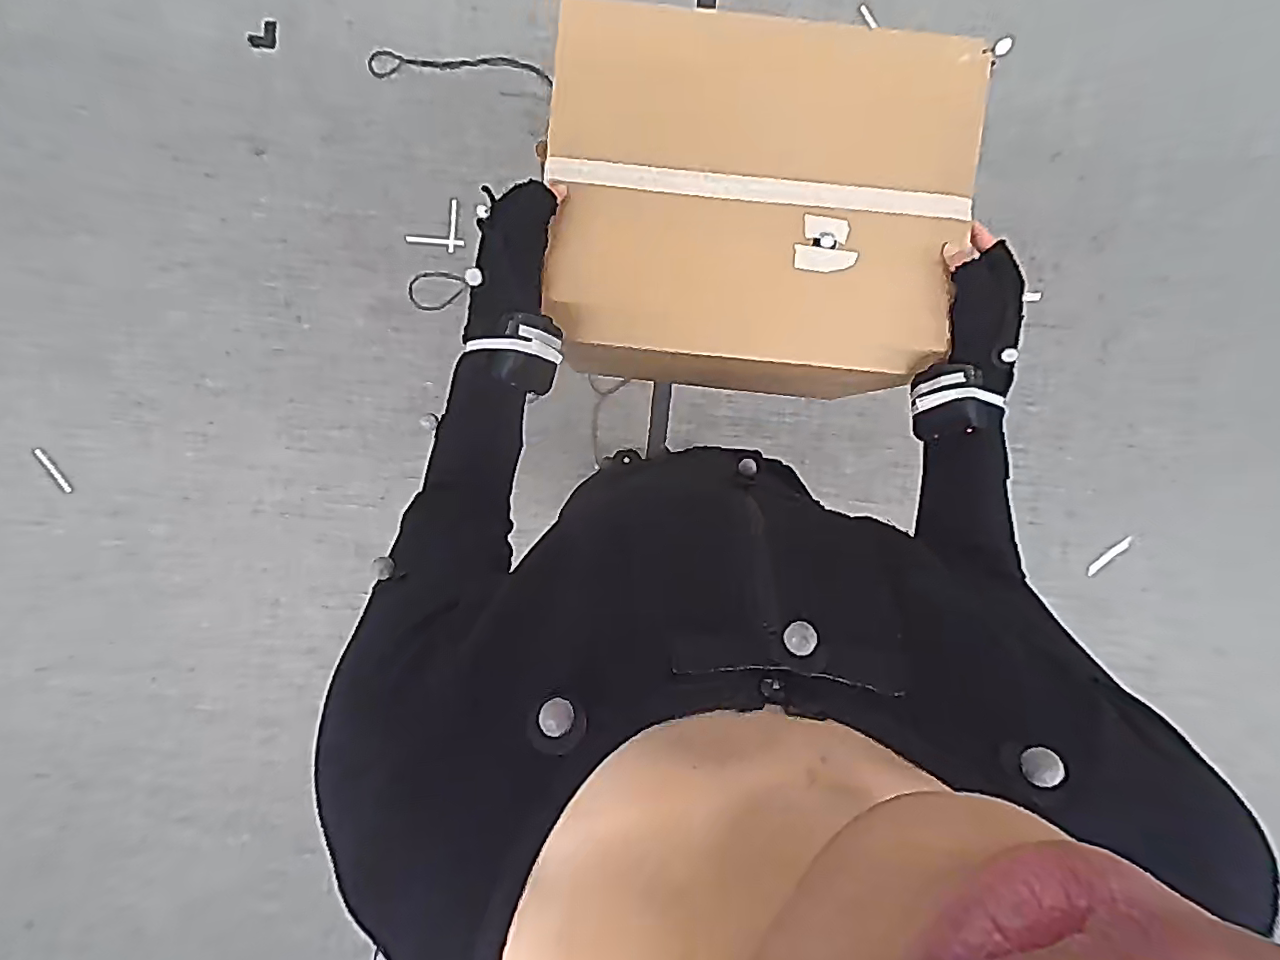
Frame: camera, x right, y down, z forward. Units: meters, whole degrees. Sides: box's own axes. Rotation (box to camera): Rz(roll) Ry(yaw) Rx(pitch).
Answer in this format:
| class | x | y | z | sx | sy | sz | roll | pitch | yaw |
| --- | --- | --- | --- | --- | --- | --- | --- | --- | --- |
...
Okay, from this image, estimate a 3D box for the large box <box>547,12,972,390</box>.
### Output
| class | x | y | z | sx | sy | sz | roll | pitch | yaw |
| --- | --- | --- | --- | --- | --- | --- | --- | --- | --- |
| large box | 0.111 | -0.295 | 0.681 | 0.408 | 0.320 | 0.320 | 5 | 95 | -1 |
